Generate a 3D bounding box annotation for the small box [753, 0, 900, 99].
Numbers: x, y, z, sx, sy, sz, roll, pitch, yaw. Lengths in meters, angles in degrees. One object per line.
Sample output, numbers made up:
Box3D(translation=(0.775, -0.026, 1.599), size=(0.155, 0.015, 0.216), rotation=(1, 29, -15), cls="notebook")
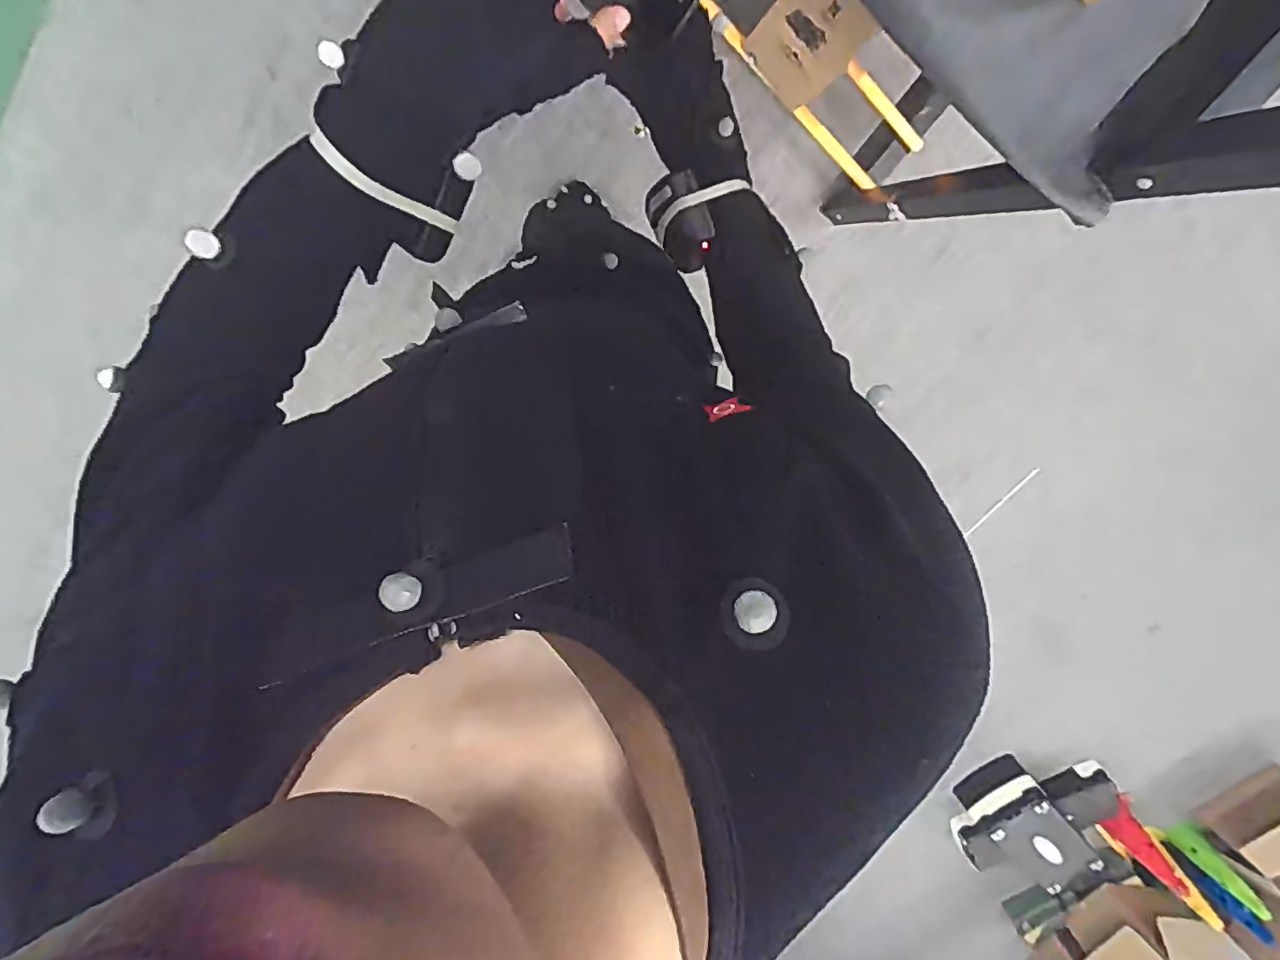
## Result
Box3D(translation=(0.330, -0.855, 1.002), size=(0.168, 0.176, 0.179), rotation=(38, 105, -20), cls="small box")
